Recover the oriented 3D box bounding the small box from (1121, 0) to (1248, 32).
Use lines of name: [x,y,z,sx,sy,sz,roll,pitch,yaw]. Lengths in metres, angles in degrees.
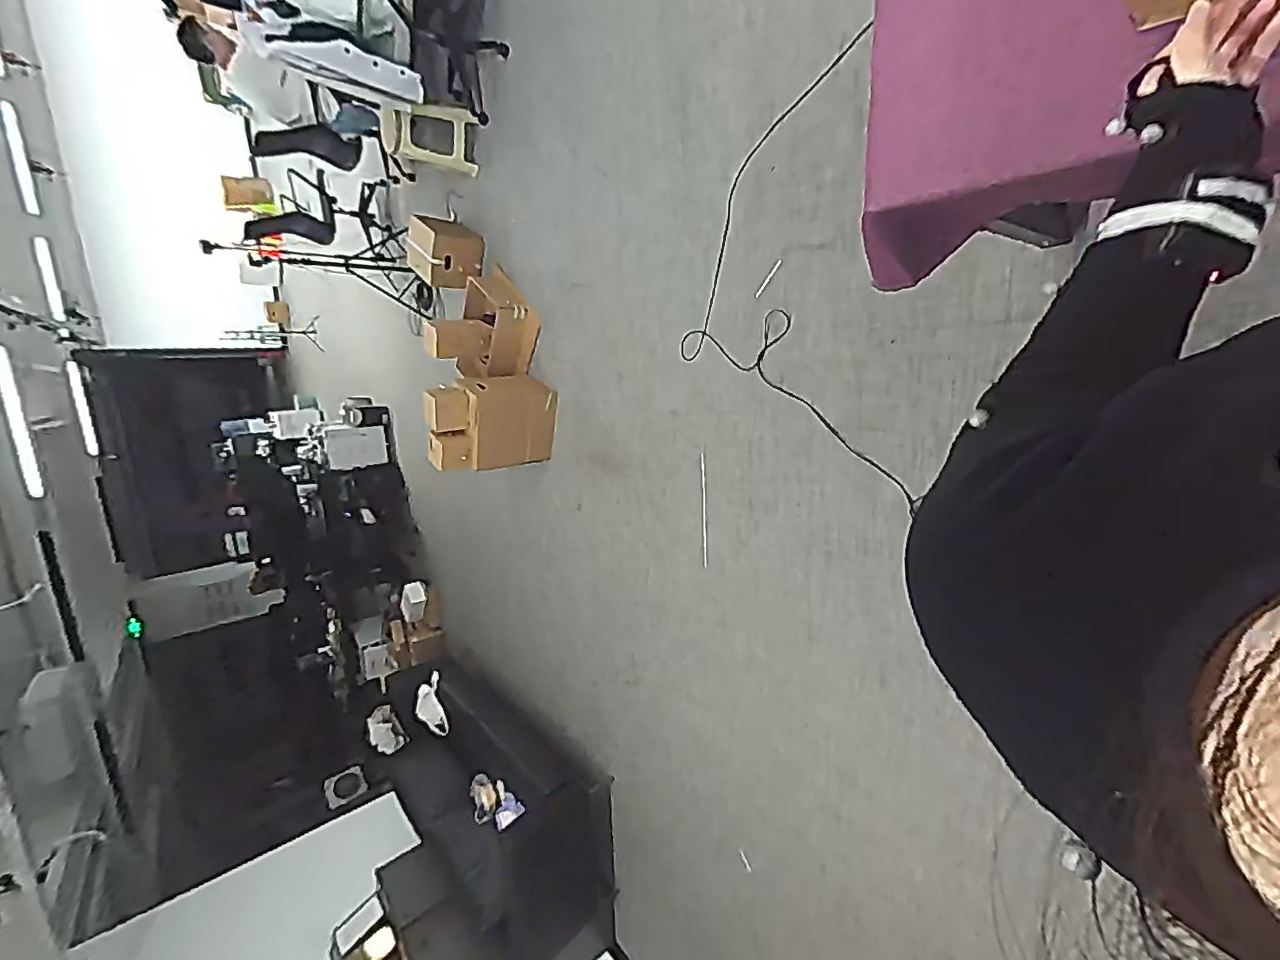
small box: [0.510,-0.526,0.443,0.168,0.176,0.179,16,111,48]
